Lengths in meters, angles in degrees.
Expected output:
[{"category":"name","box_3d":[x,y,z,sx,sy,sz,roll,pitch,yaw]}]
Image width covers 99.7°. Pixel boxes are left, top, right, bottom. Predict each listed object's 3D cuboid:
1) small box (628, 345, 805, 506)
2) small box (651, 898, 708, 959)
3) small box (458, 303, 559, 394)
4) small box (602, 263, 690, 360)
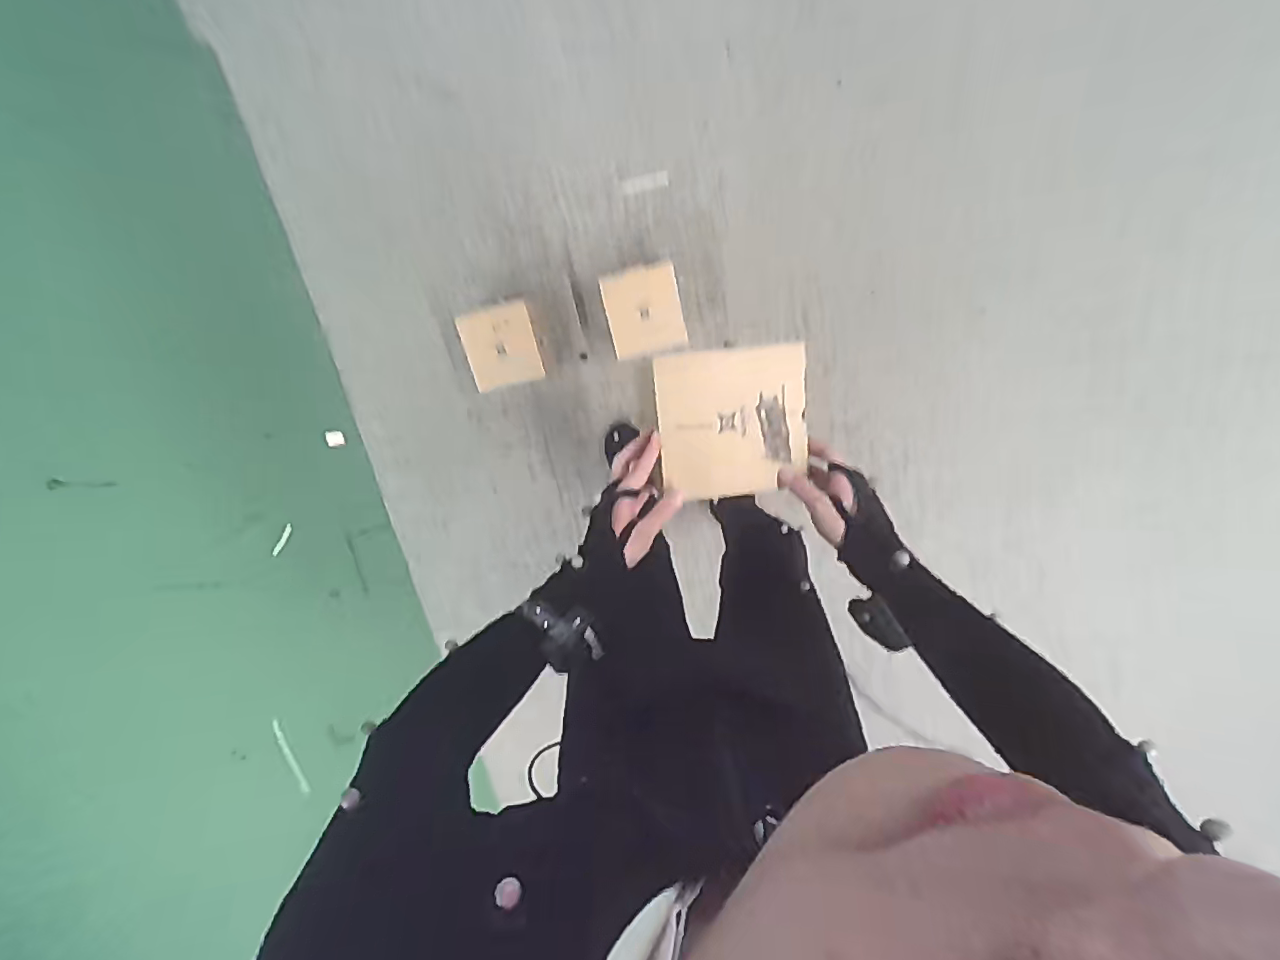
[{"category":"small box","box_3d":[0.085,-0.072,0.665,0.179,0.176,0.168,-6,99,-5]},{"category":"small box","box_3d":[0.135,1.575,1.852,0.179,0.176,0.168,-9,106,6]},{"category":"small box","box_3d":[-0.302,-0.316,1.285,0.168,0.176,0.179,-12,106,6]},{"category":"small box","box_3d":[0.017,-0.384,1.245,0.168,0.176,0.179,-11,107,8]}]
